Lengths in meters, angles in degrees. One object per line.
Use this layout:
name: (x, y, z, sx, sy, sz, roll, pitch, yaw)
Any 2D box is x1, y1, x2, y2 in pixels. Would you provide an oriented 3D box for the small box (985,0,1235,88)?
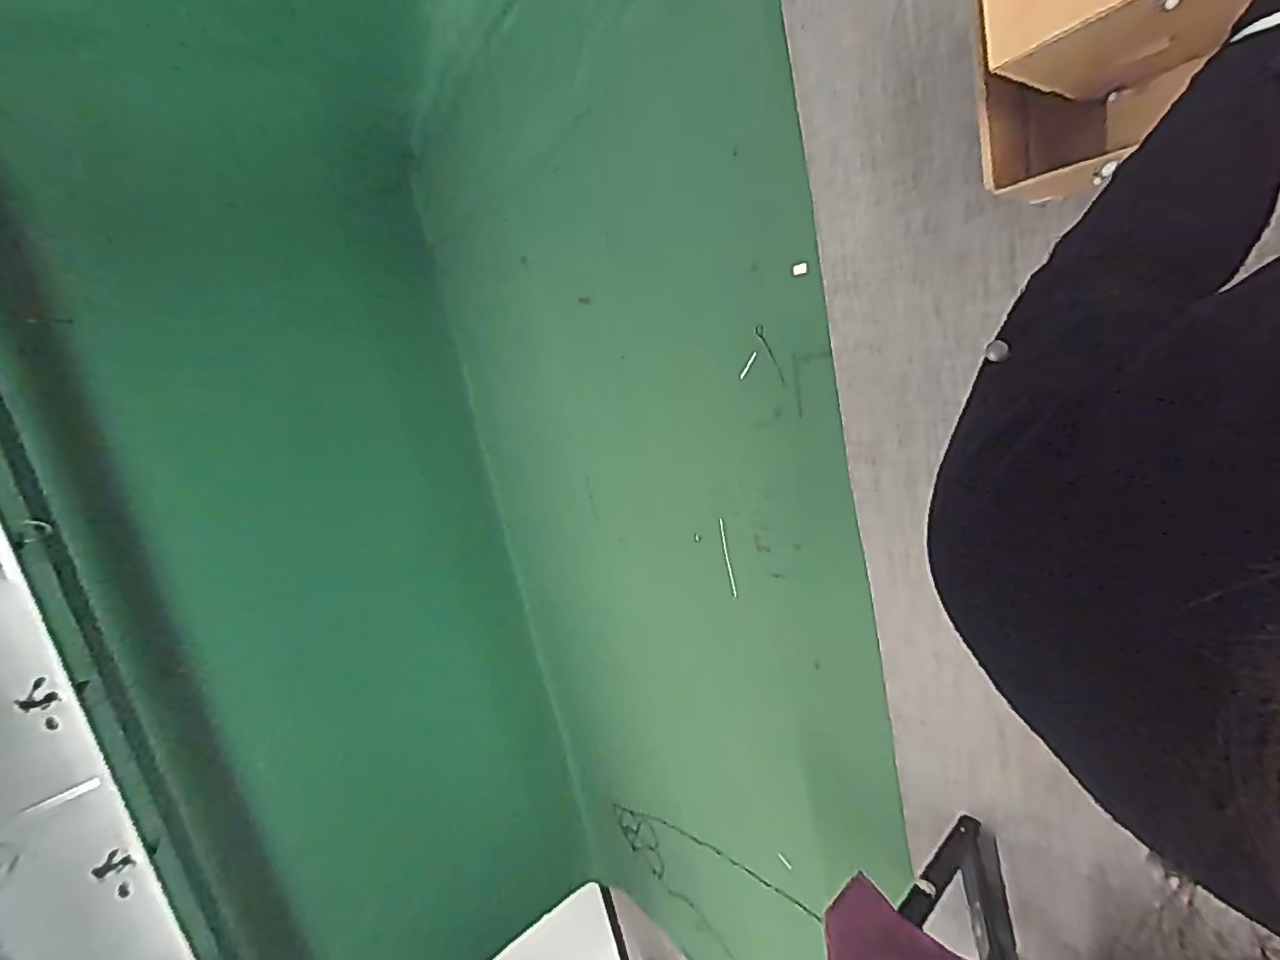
small box: (0.470, -0.529, 0.537, 0.179, 0.176, 0.168, 1, 107, 53)
